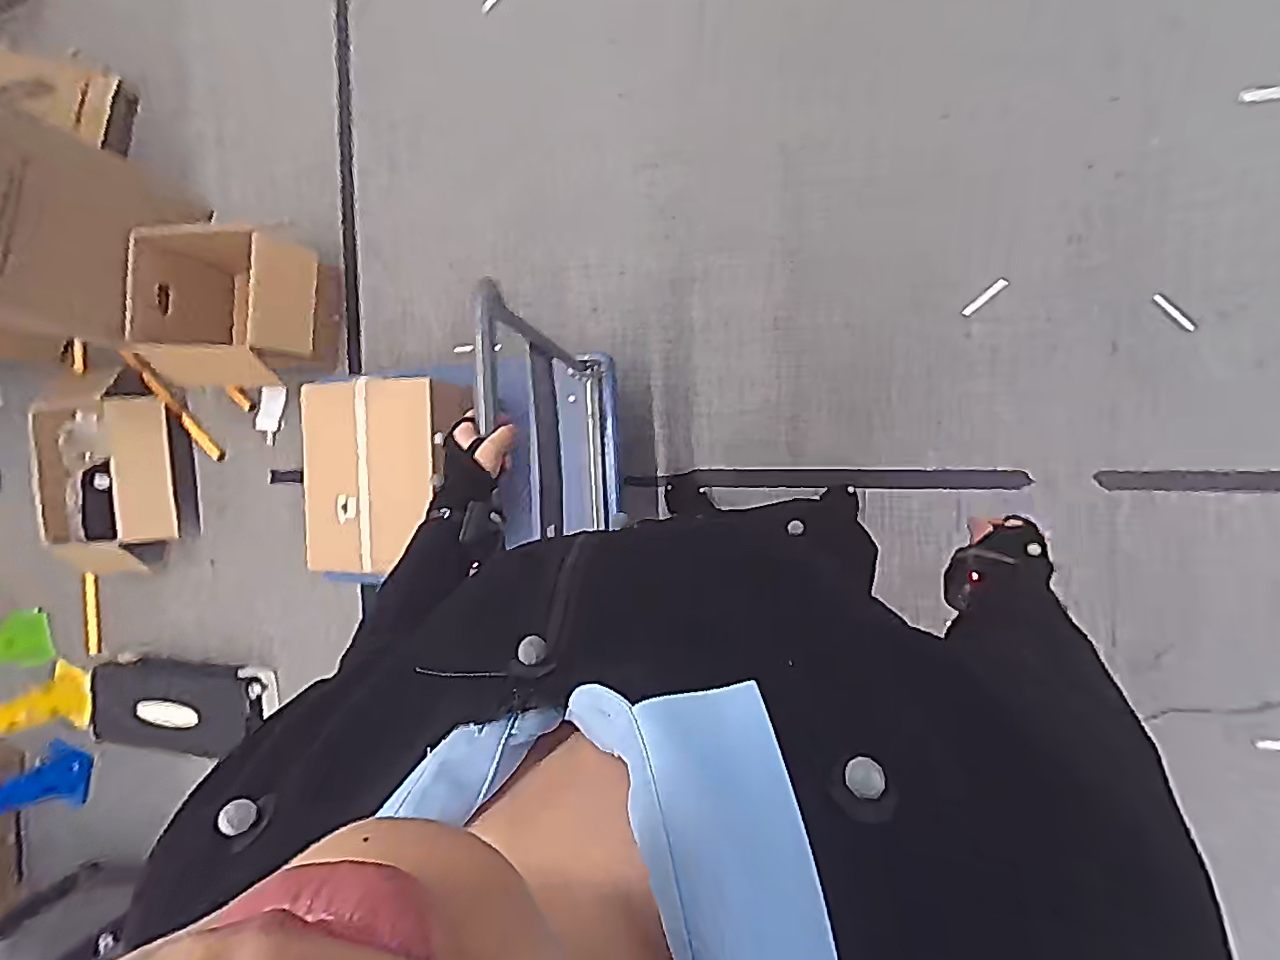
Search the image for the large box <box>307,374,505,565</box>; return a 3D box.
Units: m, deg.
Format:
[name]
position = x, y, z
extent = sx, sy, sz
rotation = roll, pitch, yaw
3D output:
[large box]
position = -0.537, -0.024, 1.297
extent = 0.320, 0.320, 0.408
rotation = -1, 92, 12
